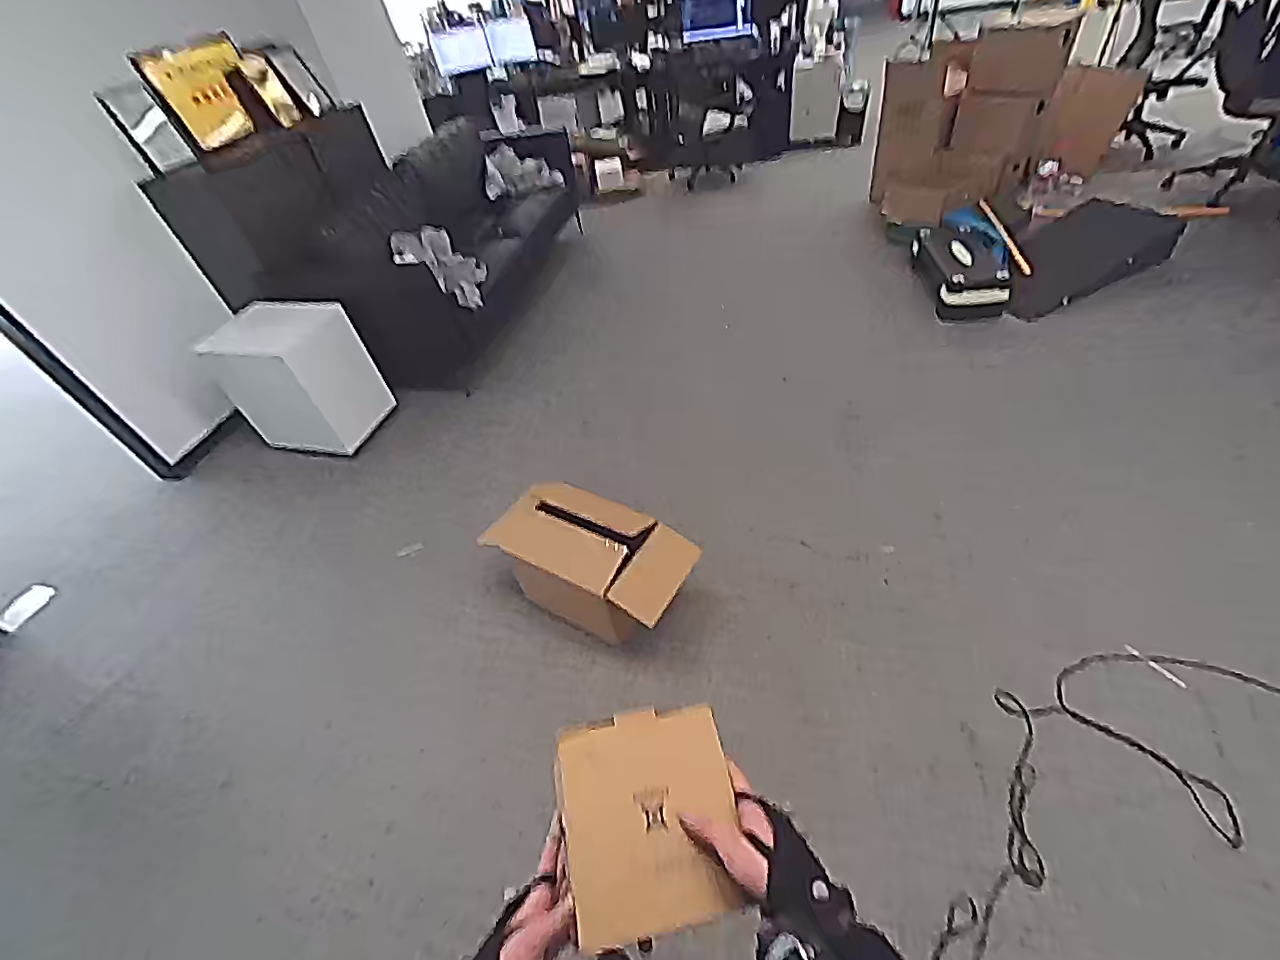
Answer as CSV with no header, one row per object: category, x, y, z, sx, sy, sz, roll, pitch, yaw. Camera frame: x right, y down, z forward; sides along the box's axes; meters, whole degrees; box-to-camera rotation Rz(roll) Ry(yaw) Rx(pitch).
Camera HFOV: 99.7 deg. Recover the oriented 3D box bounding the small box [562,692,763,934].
small box,0.005,0.344,0.560,0.168,0.176,0.179,-3,50,-10
